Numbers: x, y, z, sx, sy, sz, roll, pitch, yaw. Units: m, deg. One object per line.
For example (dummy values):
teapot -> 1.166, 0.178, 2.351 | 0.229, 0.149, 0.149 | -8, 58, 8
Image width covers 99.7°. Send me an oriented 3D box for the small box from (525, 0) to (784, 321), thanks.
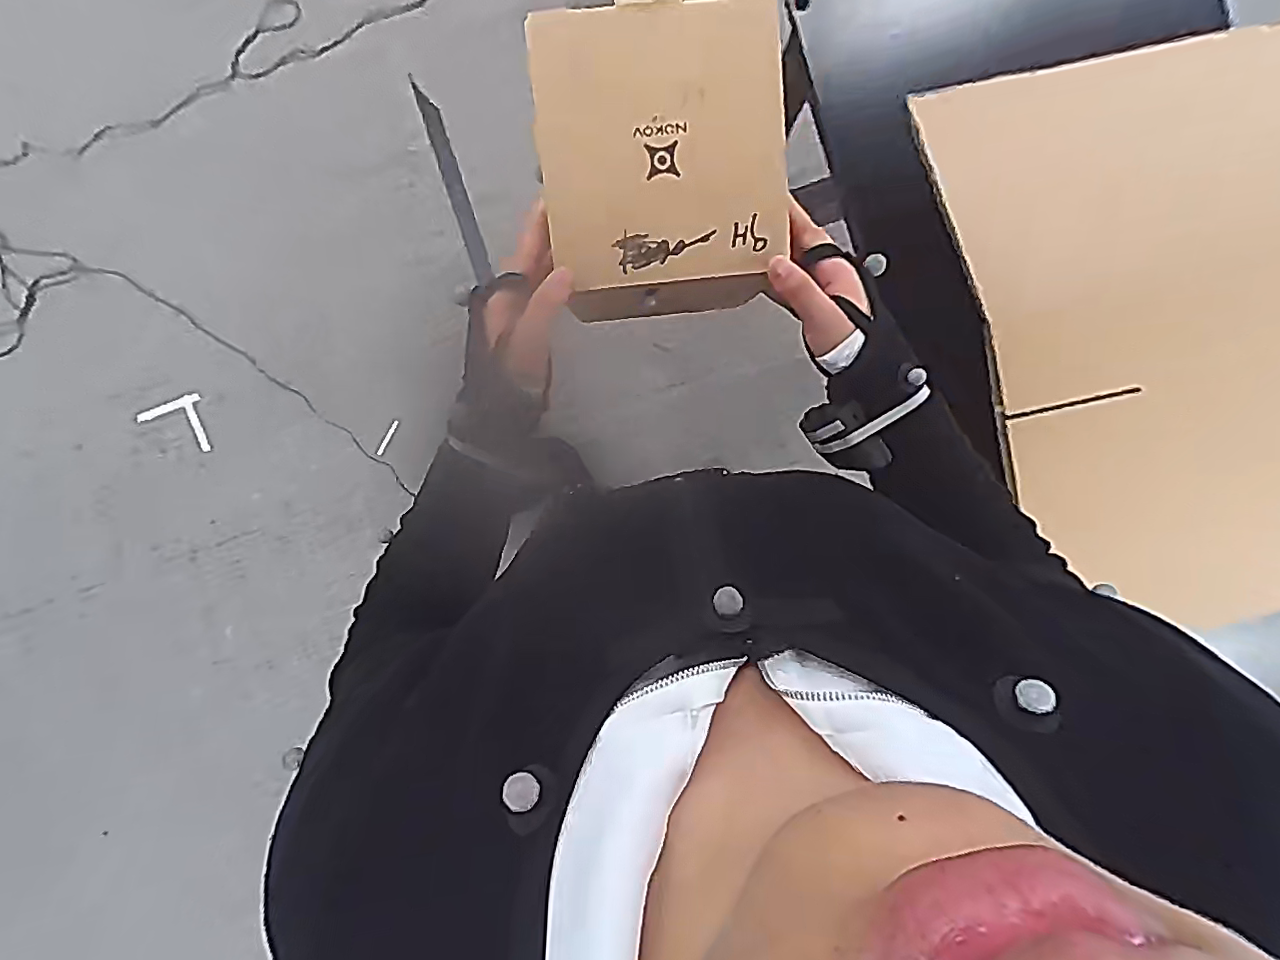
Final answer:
small box -> 0.010, -0.238, 0.442 | 0.168, 0.176, 0.179 | -6, 99, 0
